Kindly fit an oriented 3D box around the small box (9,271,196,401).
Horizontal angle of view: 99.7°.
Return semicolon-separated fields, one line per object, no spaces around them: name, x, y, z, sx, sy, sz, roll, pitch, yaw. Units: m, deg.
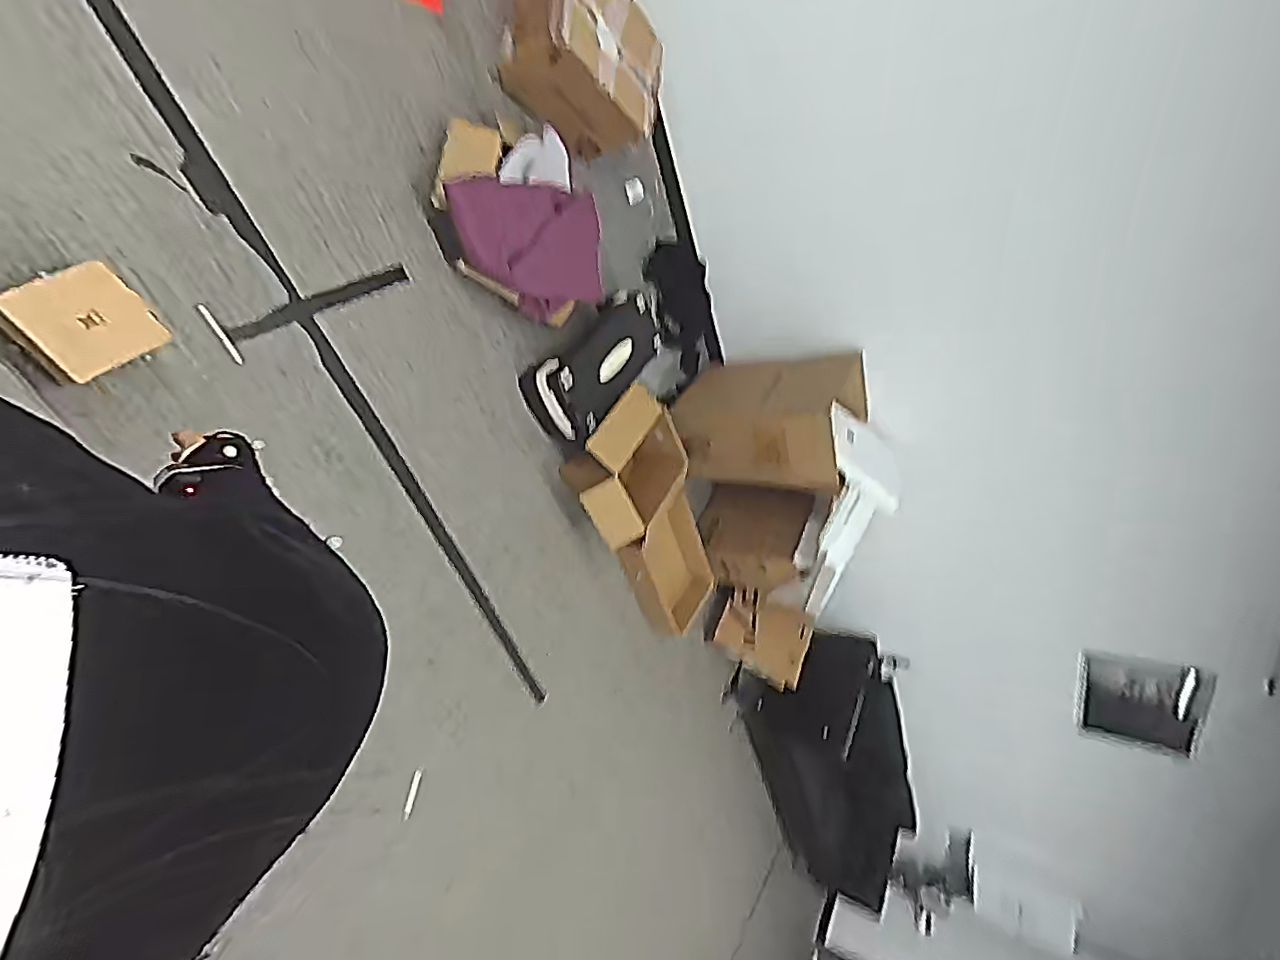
small box;-0.985;-0.260;0.993;0.179;0.176;0.168;-52;131;-36
